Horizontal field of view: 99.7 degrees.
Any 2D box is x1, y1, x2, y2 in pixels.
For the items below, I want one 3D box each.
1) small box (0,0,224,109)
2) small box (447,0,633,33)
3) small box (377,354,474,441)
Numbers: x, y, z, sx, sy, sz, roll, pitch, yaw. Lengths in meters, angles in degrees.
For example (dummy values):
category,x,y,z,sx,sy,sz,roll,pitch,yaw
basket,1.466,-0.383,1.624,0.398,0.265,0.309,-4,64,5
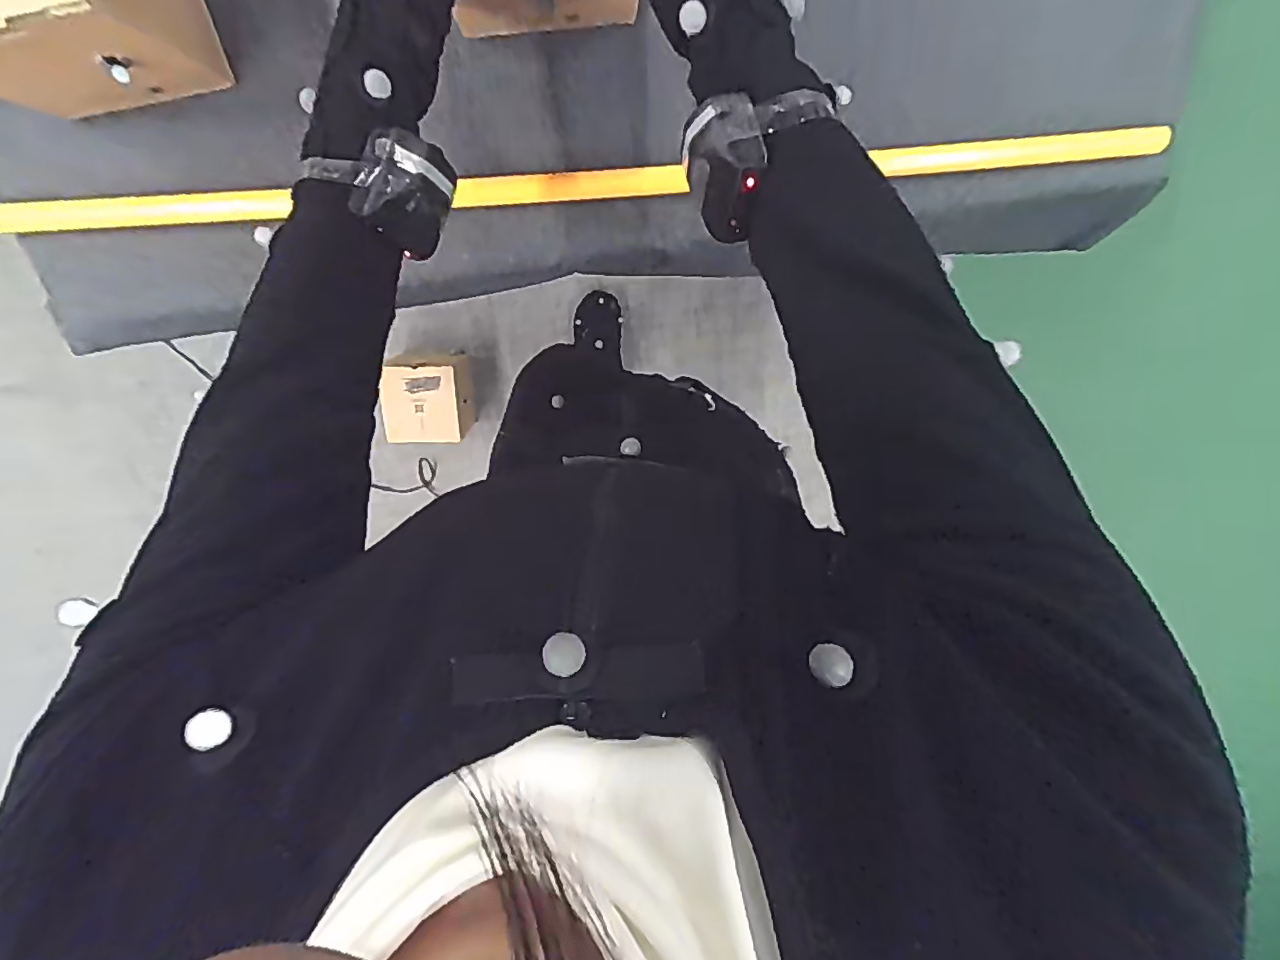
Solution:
category,x,y,z,sx,sy,sz,roll,pitch,yaw
small box,-0.471,-0.408,0.407,0.168,0.176,0.179,-13,110,-2
small box,-0.092,-0.481,0.413,0.168,0.176,0.179,-9,111,0
small box,-0.494,-0.199,1.269,0.168,0.176,0.179,-2,111,-5
